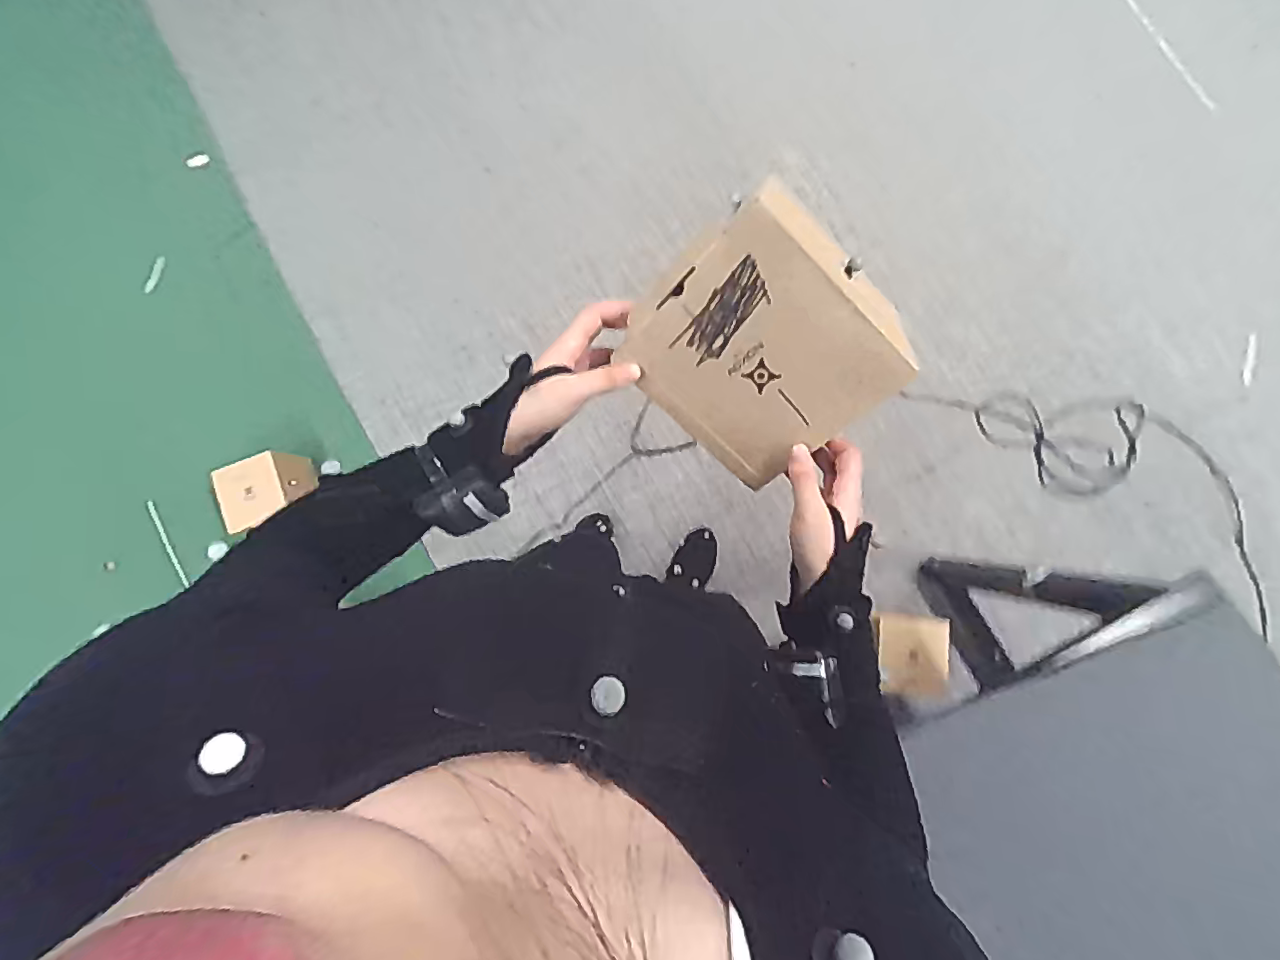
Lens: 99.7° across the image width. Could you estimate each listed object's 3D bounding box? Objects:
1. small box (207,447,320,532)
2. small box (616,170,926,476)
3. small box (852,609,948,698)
[{"bbox_3d":[-0.996,0.030,1.447,0.168,0.176,0.179,-20,83,-1],"label":"small box"},{"bbox_3d":[0.110,-0.144,0.478,0.179,0.176,0.168,39,125,-12],"label":"small box"},{"bbox_3d":[0.643,0.426,1.354,0.168,0.176,0.179,4,86,2],"label":"small box"}]
